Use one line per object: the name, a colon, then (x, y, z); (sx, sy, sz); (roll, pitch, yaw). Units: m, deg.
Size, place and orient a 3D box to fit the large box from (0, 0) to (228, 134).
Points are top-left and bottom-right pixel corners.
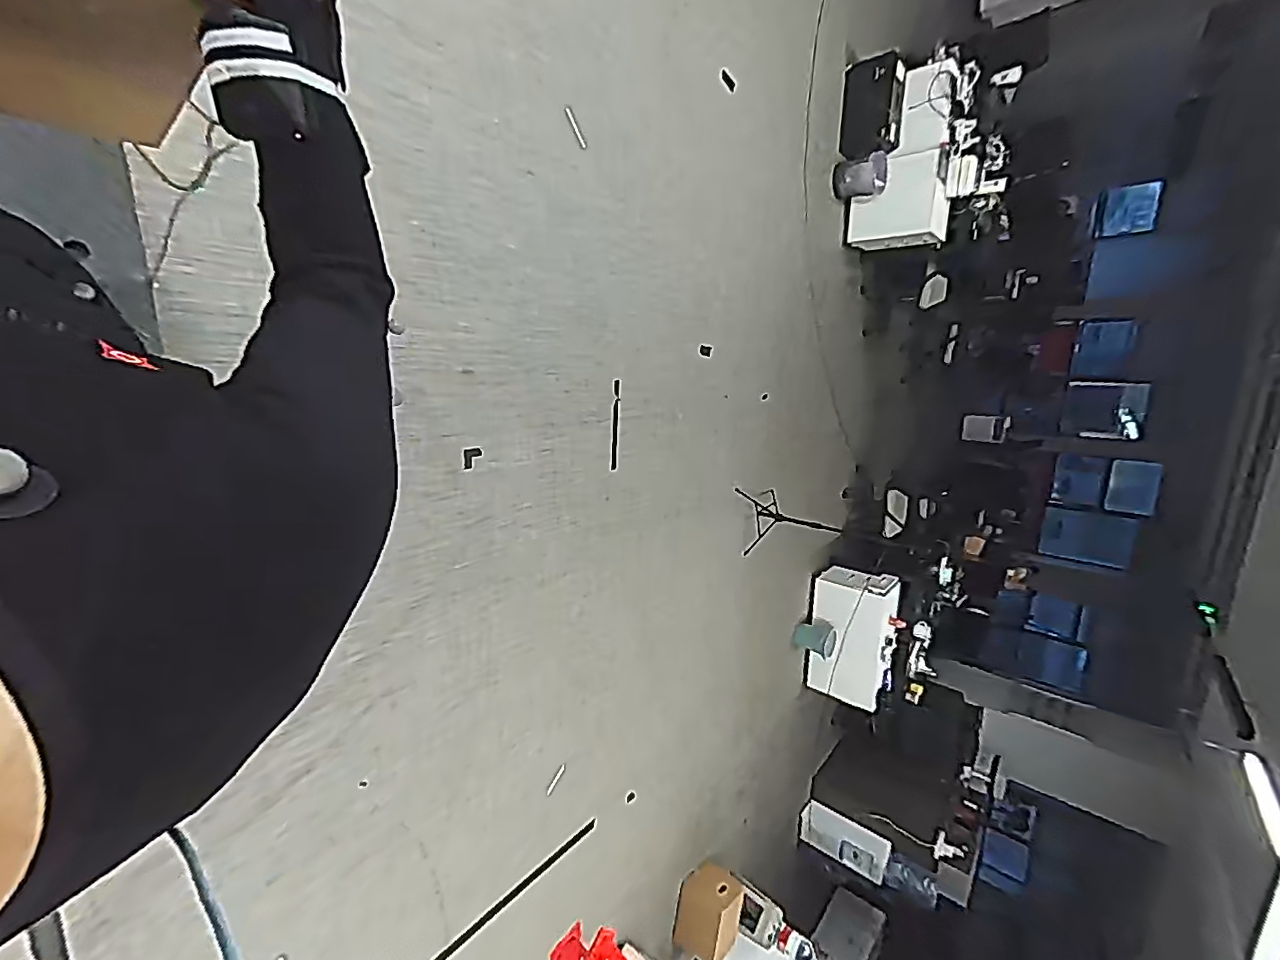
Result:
large box: (-0.504, -0.441, 0.267); (0.408, 0.320, 0.320); (-14, 106, -48)
